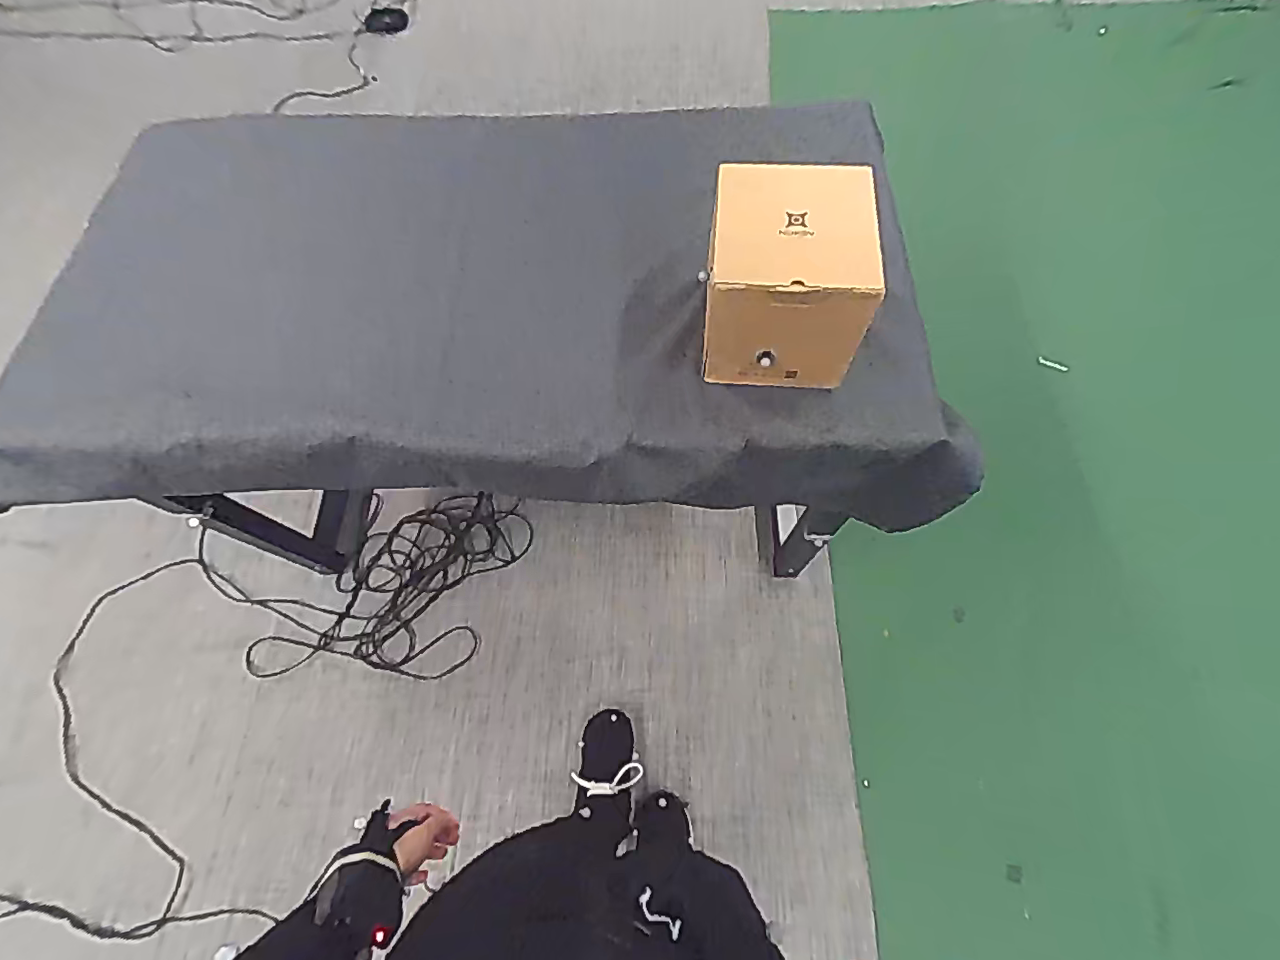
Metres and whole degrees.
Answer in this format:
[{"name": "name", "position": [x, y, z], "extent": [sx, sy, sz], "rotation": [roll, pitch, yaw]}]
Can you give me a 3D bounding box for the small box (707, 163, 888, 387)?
[{"name": "small box", "position": [0.167, -0.231, 0.628], "extent": [0.168, 0.176, 0.179], "rotation": [3, 66, 4]}]
